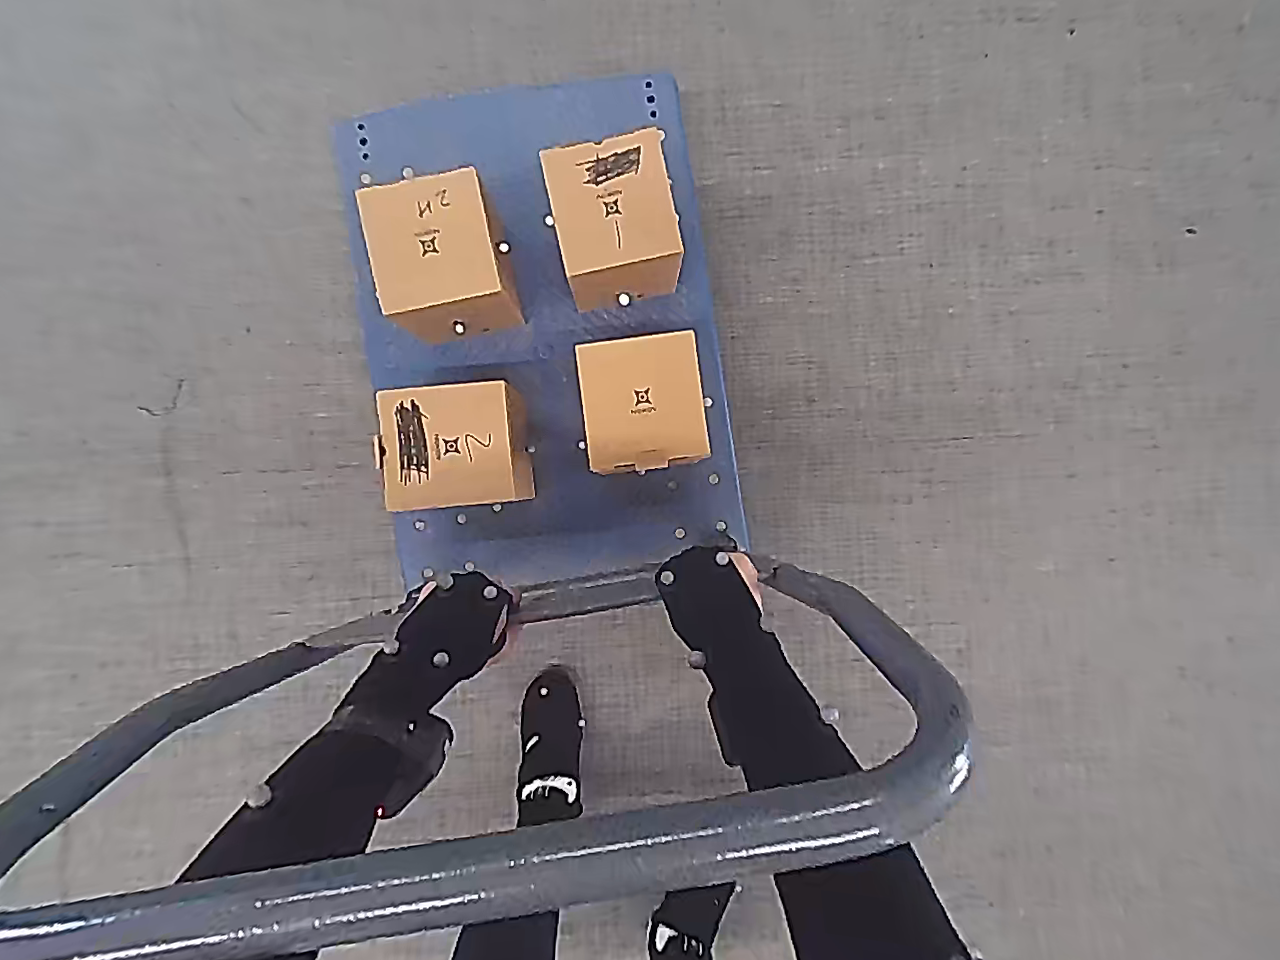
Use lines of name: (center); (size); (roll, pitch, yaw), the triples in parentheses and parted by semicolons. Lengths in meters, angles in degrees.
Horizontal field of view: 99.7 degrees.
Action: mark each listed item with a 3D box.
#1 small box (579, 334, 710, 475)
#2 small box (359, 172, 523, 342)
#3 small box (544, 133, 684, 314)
small box: (0.003, -0.103, 0.812); (0.168, 0.176, 0.179); (-7, 90, -1)
small box: (-0.283, -0.316, 0.807); (0.168, 0.176, 0.179); (-12, 90, -2)
small box: (-0.037, -0.371, 0.810); (0.168, 0.176, 0.179); (-12, 91, 0)
